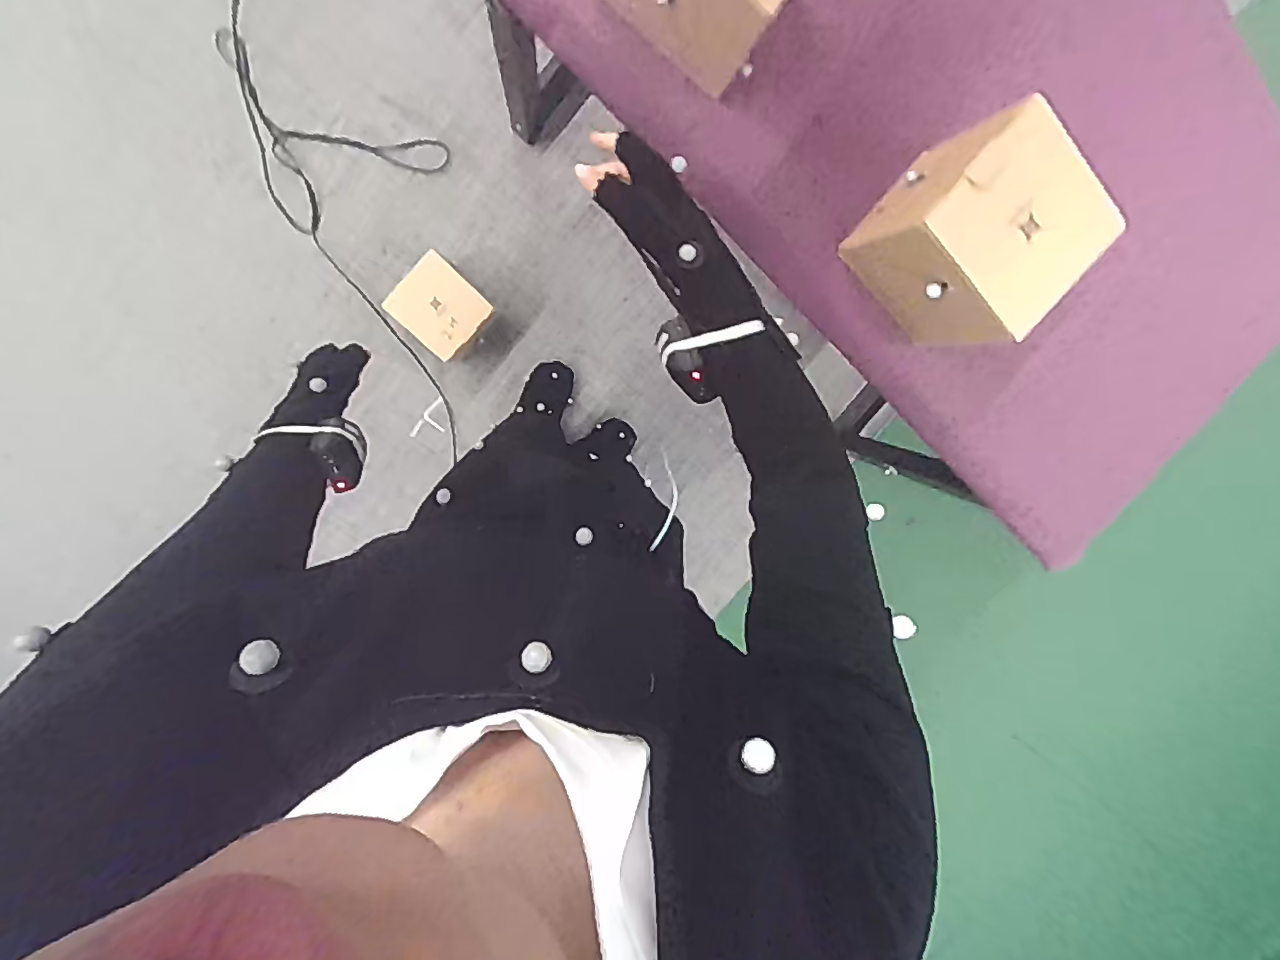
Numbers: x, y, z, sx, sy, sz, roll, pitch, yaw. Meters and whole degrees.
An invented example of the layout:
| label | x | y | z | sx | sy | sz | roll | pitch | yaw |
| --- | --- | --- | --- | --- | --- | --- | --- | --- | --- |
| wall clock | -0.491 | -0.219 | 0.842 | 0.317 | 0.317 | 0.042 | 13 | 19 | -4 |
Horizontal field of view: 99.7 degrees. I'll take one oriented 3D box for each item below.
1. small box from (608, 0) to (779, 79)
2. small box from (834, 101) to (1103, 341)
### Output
| label | x | y | z | sx | sy | sz | roll | pitch | yaw |
| --- | --- | --- | --- | --- | --- | --- | --- | --- | --- |
| small box | 0.072 | -0.539 | 0.524 | 0.179 | 0.176 | 0.168 | 33 | 96 | -15 |
| small box | 0.374 | -0.286 | 0.643 | 0.179 | 0.176 | 0.168 | 41 | 93 | -16 |
